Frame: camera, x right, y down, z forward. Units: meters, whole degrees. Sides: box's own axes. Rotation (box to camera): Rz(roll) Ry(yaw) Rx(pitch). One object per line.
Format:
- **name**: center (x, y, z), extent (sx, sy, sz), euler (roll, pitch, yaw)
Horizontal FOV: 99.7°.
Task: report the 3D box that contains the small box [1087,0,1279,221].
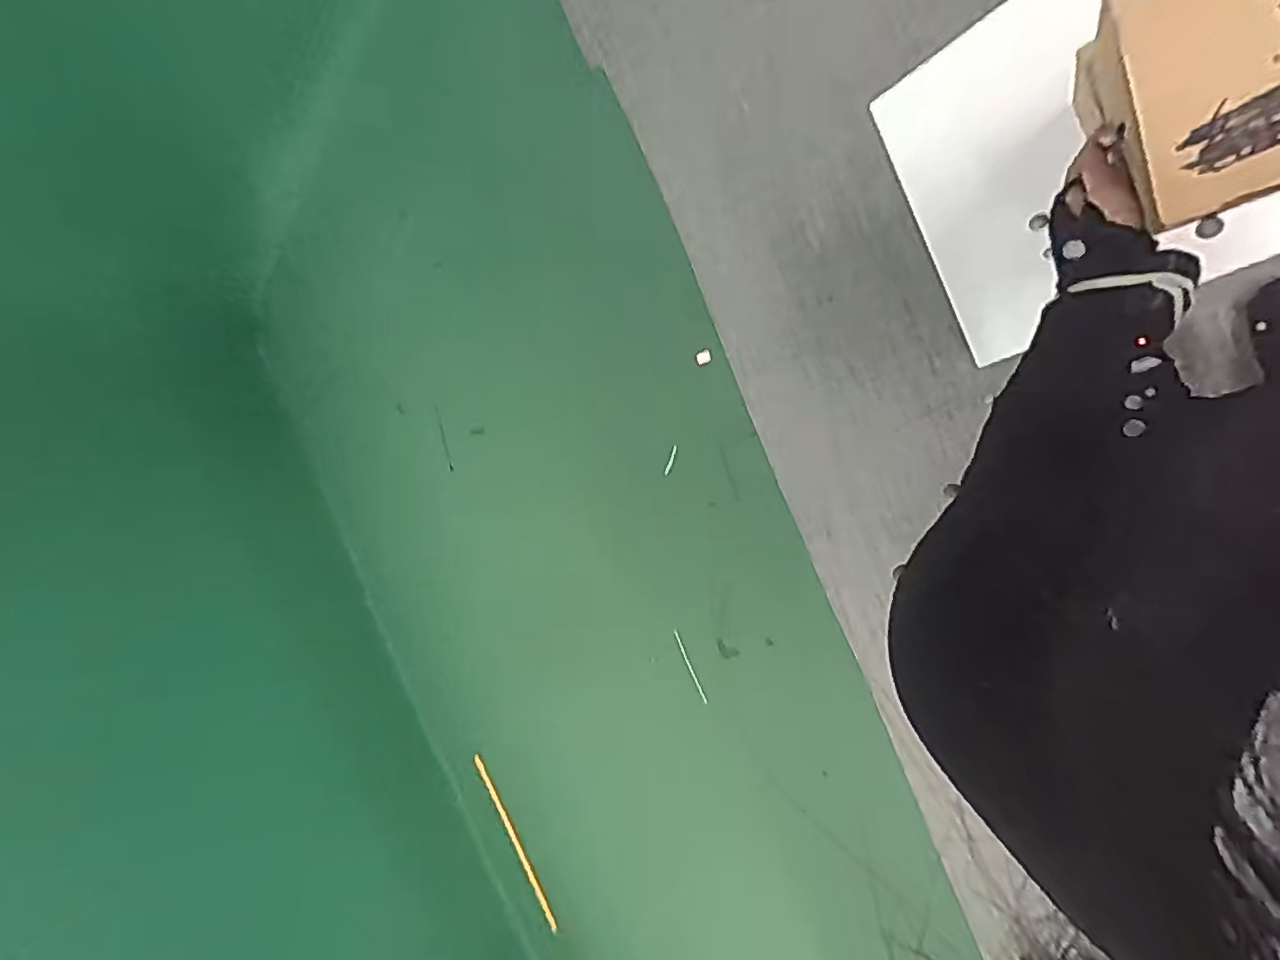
- **small box**: center (0.551, -0.372, 0.508), extent (0.168, 0.176, 0.179), euler (-22, 92, 41)
